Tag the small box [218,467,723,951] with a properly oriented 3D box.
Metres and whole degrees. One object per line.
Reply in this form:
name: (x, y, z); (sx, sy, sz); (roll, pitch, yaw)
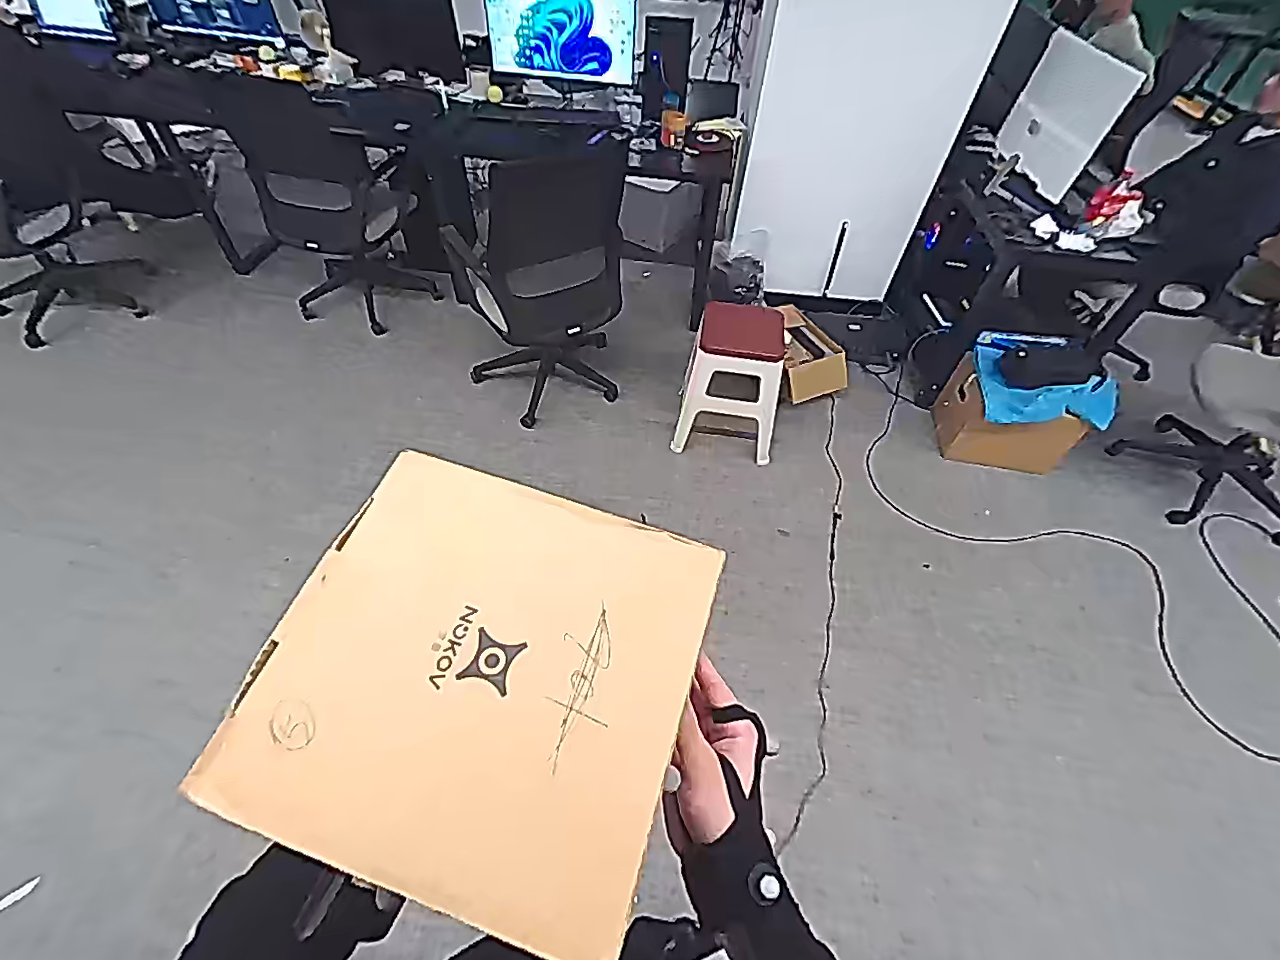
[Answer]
small box: (-0.068, 0.122, 0.313); (0.179, 0.176, 0.168); (17, 61, 6)
